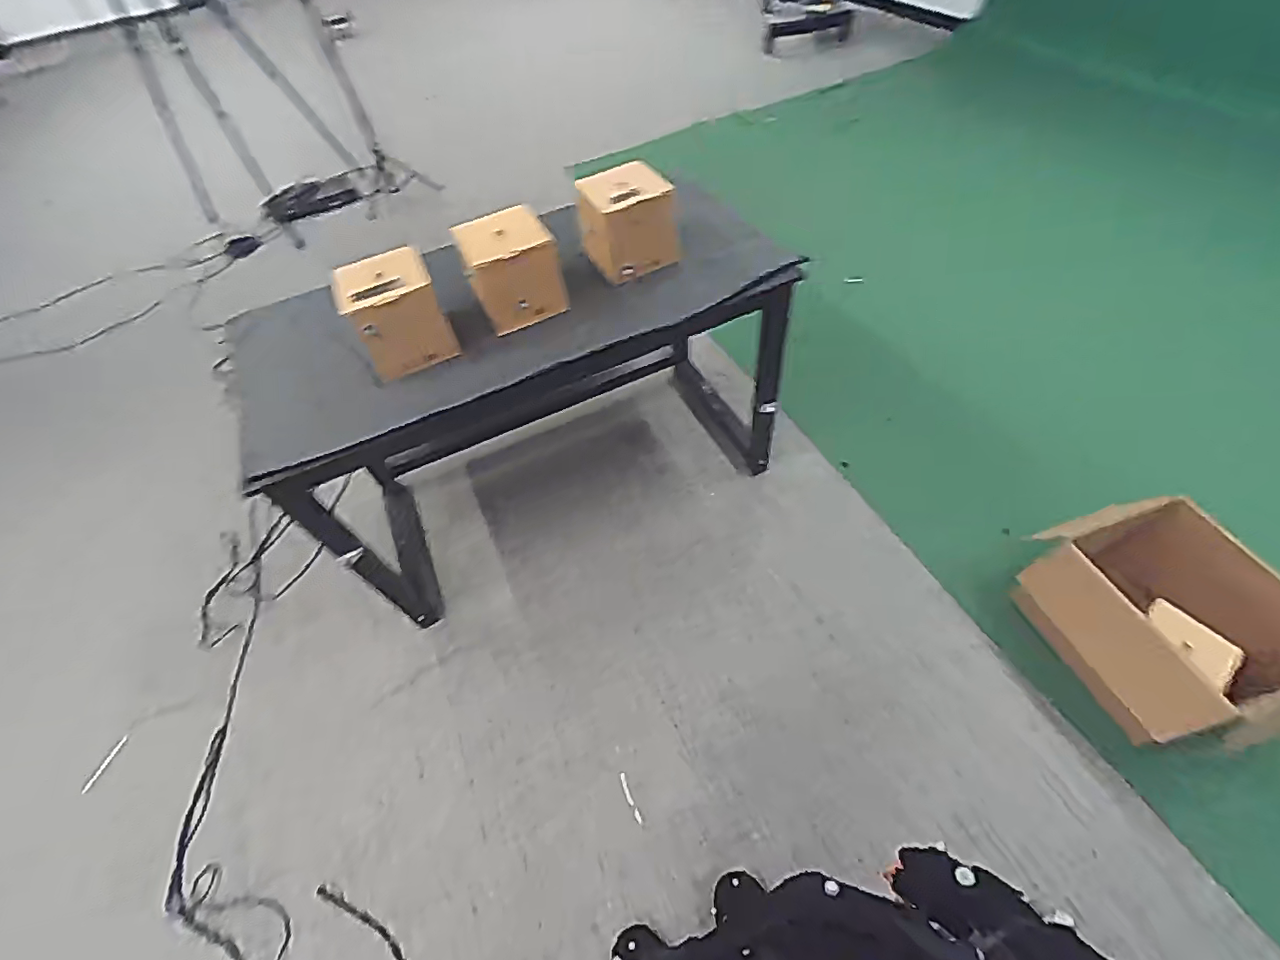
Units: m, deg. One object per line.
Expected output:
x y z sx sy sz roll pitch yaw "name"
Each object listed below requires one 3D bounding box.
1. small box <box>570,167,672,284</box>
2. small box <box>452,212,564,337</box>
-0.038 -0.572 1.231 0.168 0.176 0.179 -26 54 -12 "small box"
-0.281 -0.442 1.169 0.168 0.176 0.179 -25 55 -12 "small box"
